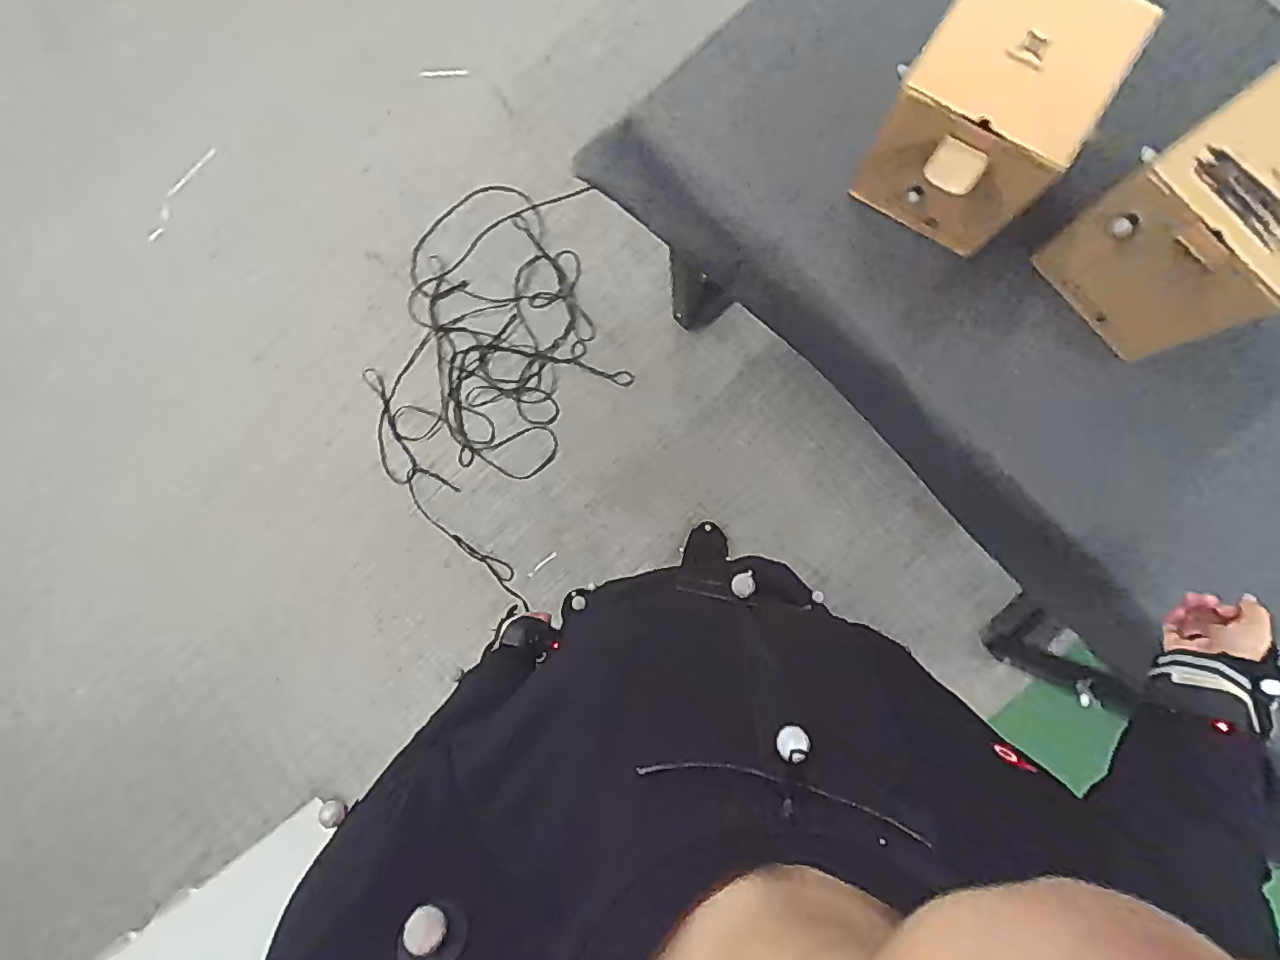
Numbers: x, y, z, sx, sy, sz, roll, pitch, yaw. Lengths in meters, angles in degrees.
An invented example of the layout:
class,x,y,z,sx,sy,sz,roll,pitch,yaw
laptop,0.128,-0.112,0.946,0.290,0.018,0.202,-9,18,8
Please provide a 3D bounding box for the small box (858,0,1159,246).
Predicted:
class,x,y,z,sx,sy,sz,roll,pitch,yaw
small box,0.363,-0.393,0.573,0.168,0.176,0.179,32,89,5
